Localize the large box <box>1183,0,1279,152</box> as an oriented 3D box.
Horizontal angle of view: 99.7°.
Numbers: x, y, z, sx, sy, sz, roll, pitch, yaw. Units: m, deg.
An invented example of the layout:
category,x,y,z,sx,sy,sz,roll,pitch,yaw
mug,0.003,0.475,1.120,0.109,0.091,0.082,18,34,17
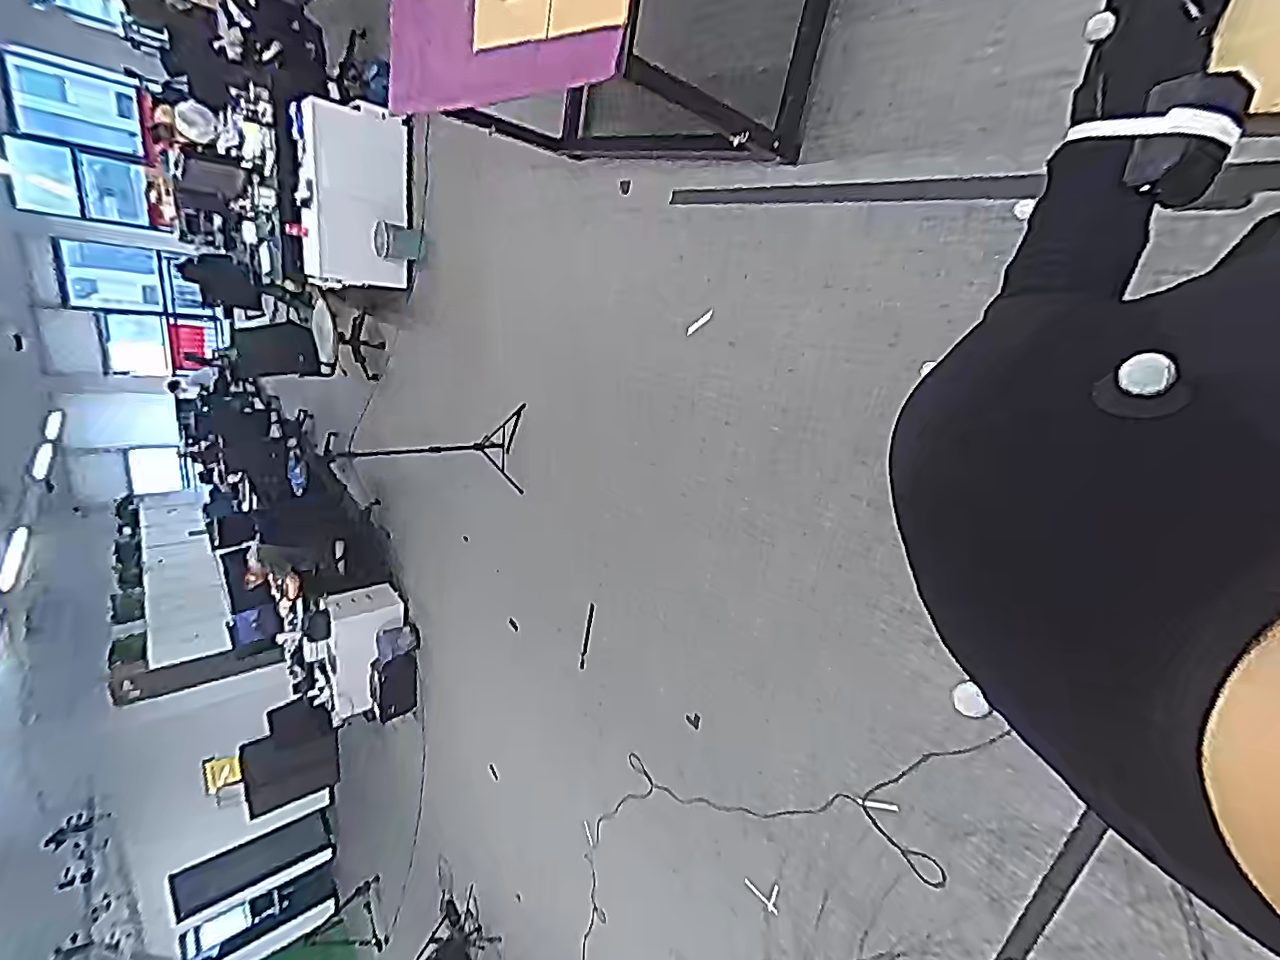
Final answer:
category,x,y,z,sx,sy,sz,roll,pitch,yaw
large box,0.618,-0.370,0.281,0.408,0.320,0.320,24,127,39
